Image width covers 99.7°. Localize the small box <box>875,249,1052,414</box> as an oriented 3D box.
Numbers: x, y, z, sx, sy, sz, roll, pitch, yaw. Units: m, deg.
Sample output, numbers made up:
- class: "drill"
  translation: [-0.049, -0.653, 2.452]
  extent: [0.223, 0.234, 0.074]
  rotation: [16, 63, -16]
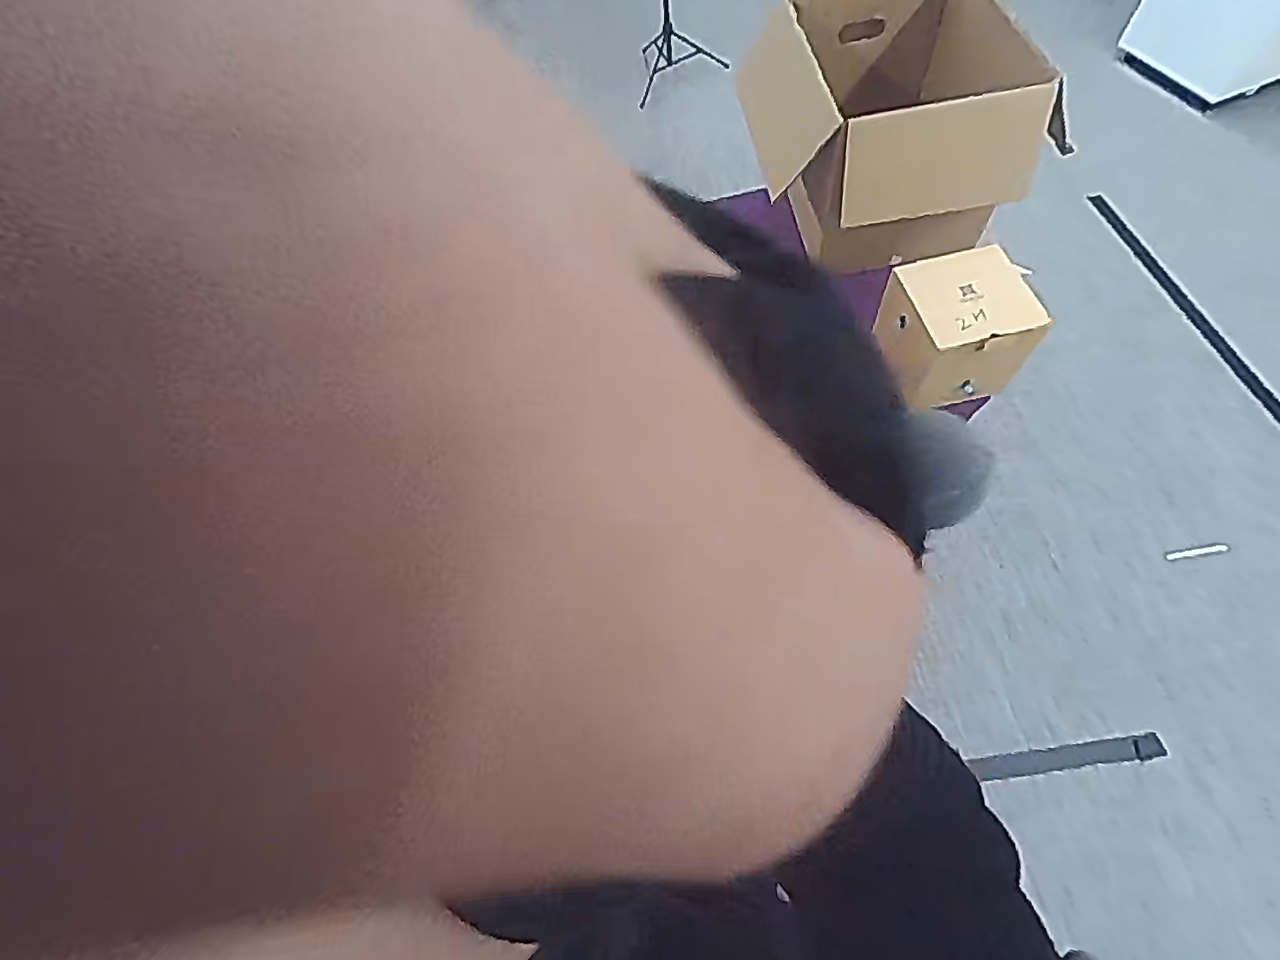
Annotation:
- class: "small box"
  translation: [0.506, -0.236, 0.881]
  extent: [0.168, 0.176, 0.179]
  rotation: [-12, 62, 4]
